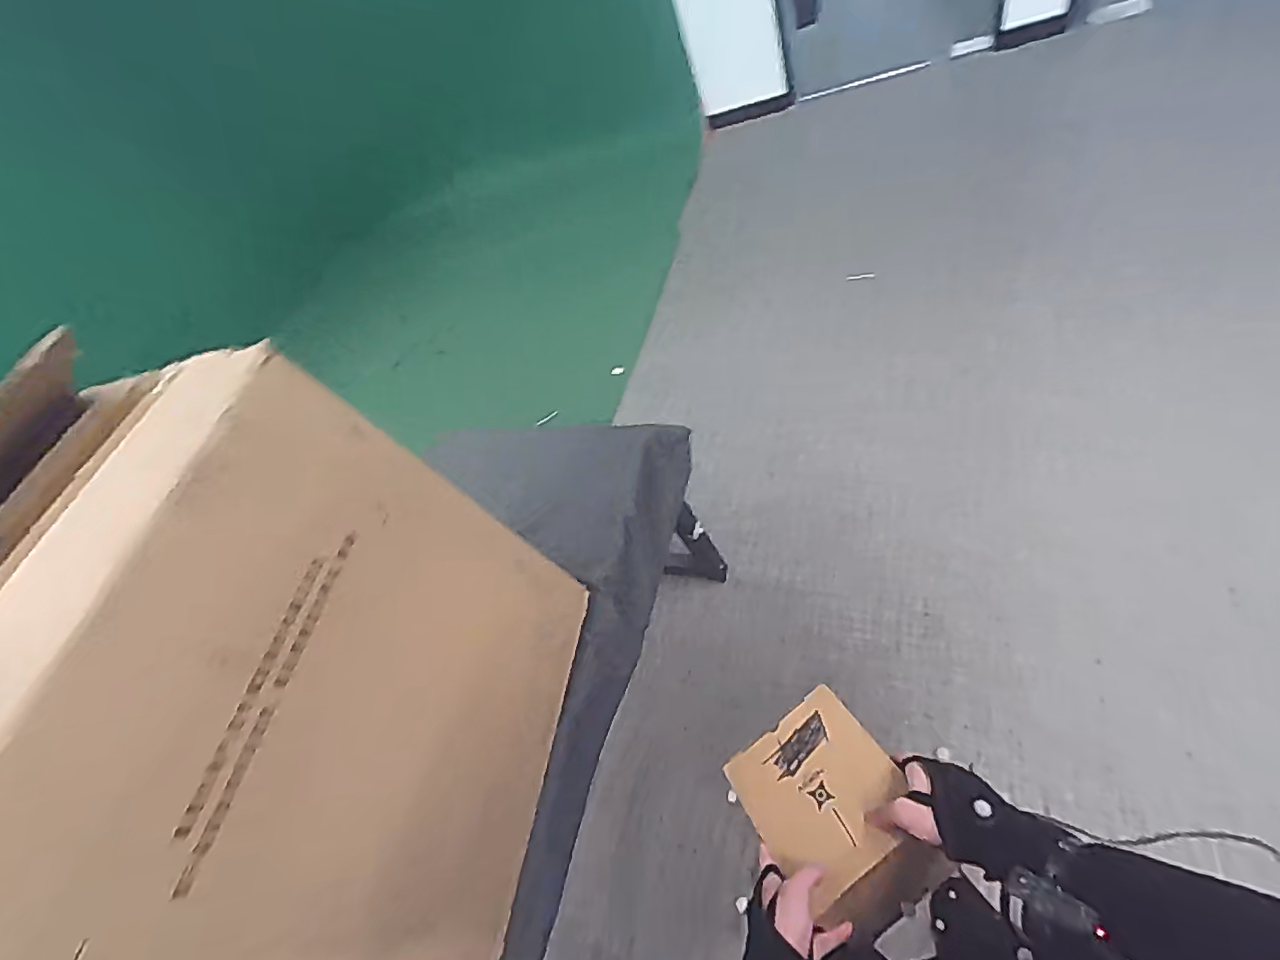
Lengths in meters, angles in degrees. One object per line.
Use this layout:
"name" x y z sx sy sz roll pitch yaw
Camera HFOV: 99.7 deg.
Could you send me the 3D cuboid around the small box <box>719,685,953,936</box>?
"small box" 0.231 0.394 0.649 0.168 0.176 0.179 -41 33 1
